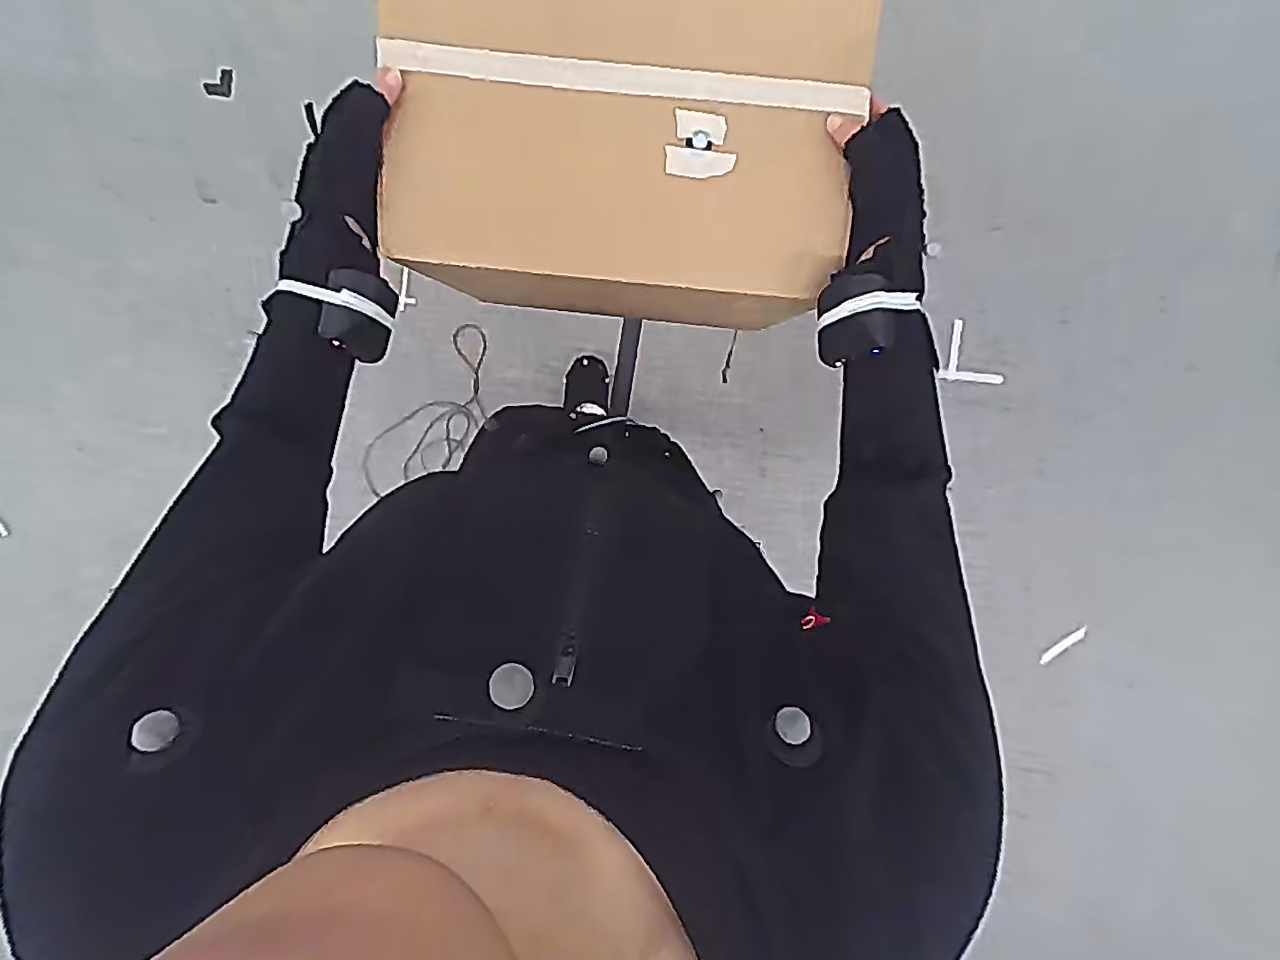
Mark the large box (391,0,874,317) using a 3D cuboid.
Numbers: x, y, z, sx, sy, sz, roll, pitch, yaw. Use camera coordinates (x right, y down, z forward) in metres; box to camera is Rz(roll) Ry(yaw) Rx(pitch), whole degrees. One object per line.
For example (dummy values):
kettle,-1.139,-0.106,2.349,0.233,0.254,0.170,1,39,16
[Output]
large box,-0.014,-0.369,0.602,0.408,0.320,0.320,5,102,-2
